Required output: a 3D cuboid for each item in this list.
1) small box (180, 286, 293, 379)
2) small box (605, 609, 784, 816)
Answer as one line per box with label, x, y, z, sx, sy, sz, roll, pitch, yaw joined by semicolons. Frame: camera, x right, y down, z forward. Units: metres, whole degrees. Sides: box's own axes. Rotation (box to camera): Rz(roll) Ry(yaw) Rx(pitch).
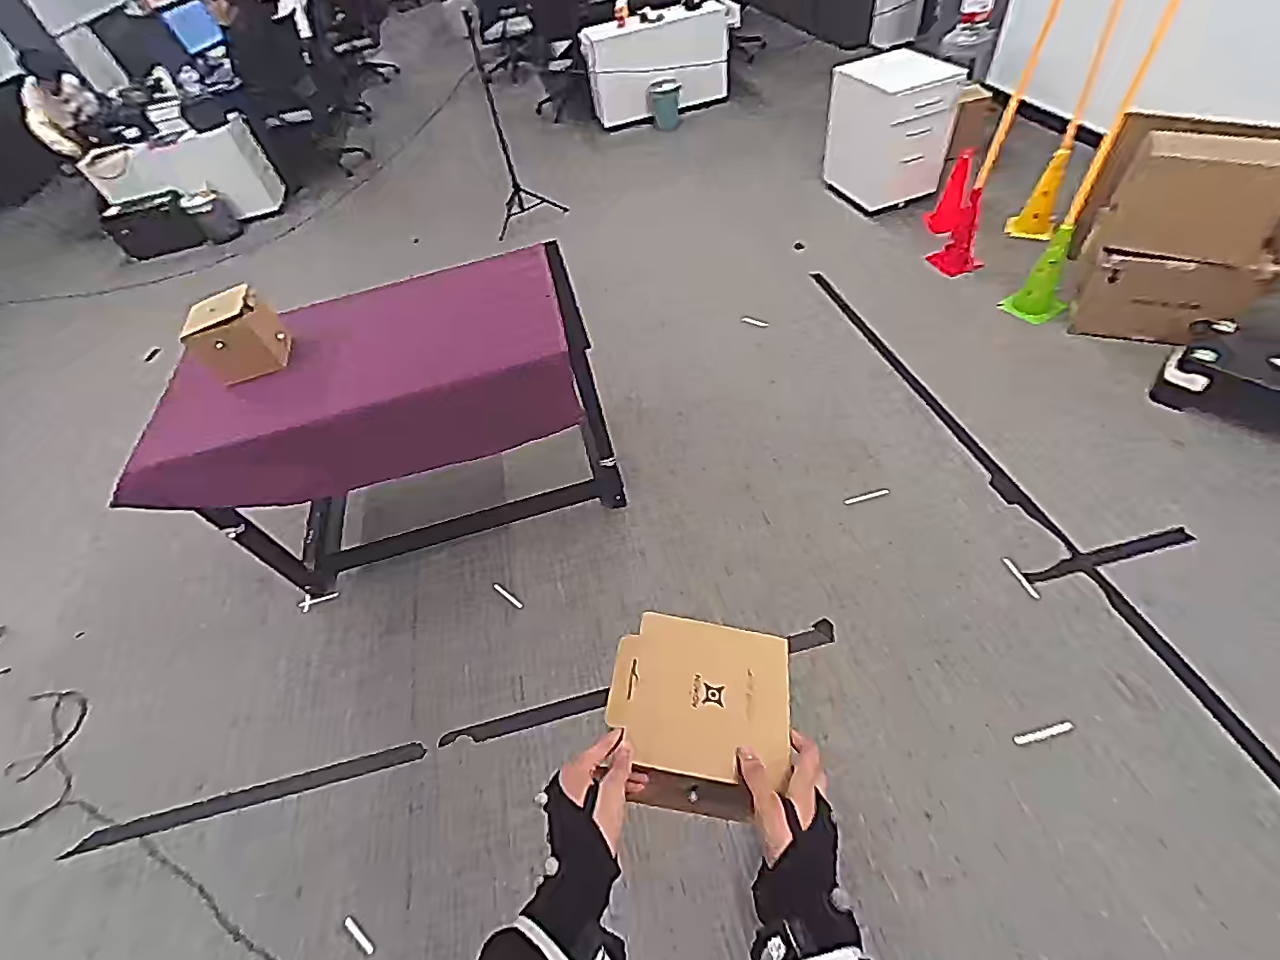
small box;-1.115;-0.406;1.508;0.179;0.176;0.168;-17;51;-5
small box;0.059;0.278;0.640;0.179;0.176;0.168;10;48;1
